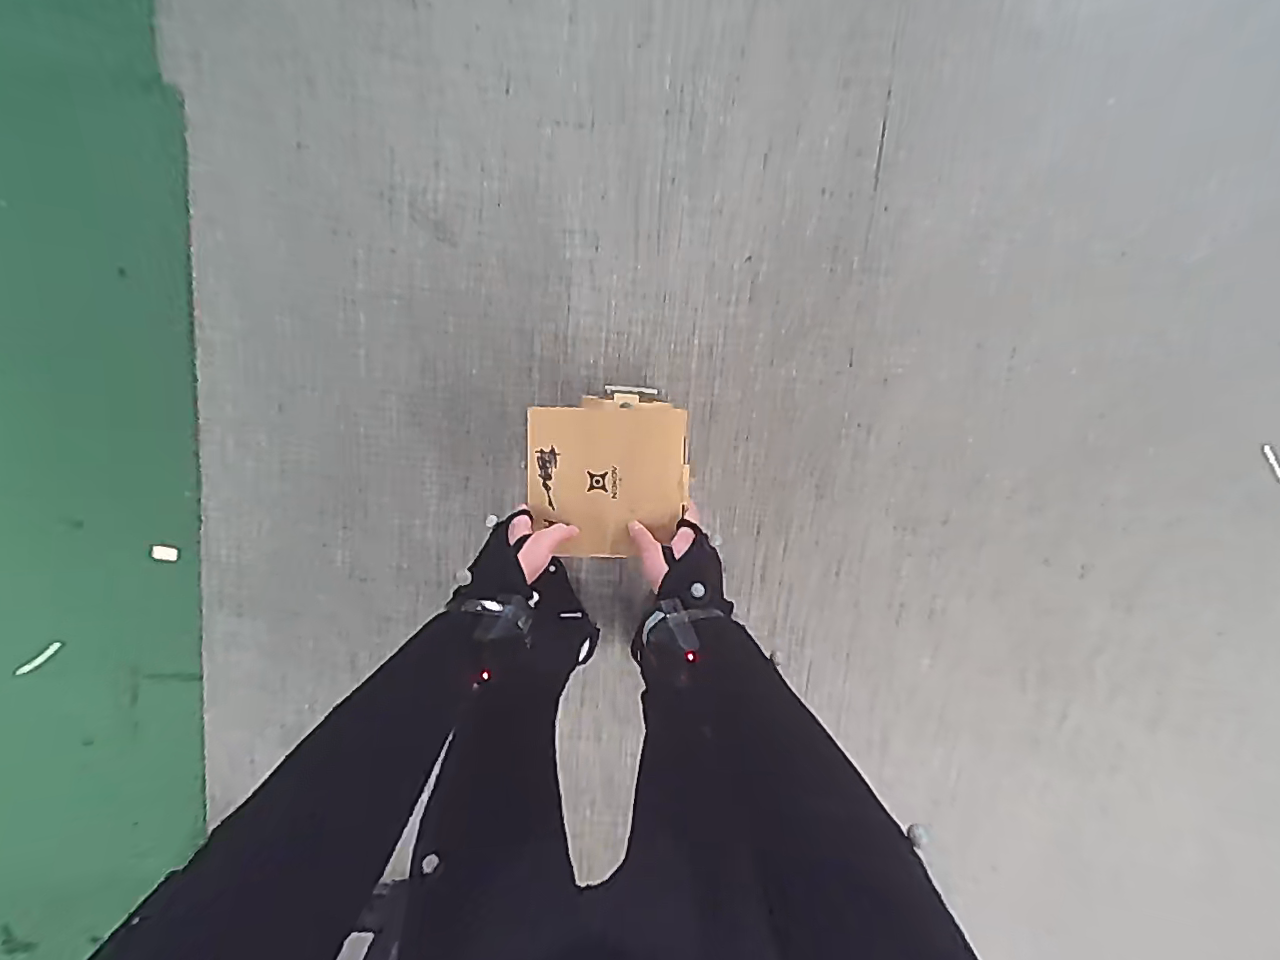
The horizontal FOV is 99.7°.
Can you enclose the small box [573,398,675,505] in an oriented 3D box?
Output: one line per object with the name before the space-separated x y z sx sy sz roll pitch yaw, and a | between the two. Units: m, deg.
small box | -0.030 -0.060 1.040 0.168 0.176 0.179 7 98 0
